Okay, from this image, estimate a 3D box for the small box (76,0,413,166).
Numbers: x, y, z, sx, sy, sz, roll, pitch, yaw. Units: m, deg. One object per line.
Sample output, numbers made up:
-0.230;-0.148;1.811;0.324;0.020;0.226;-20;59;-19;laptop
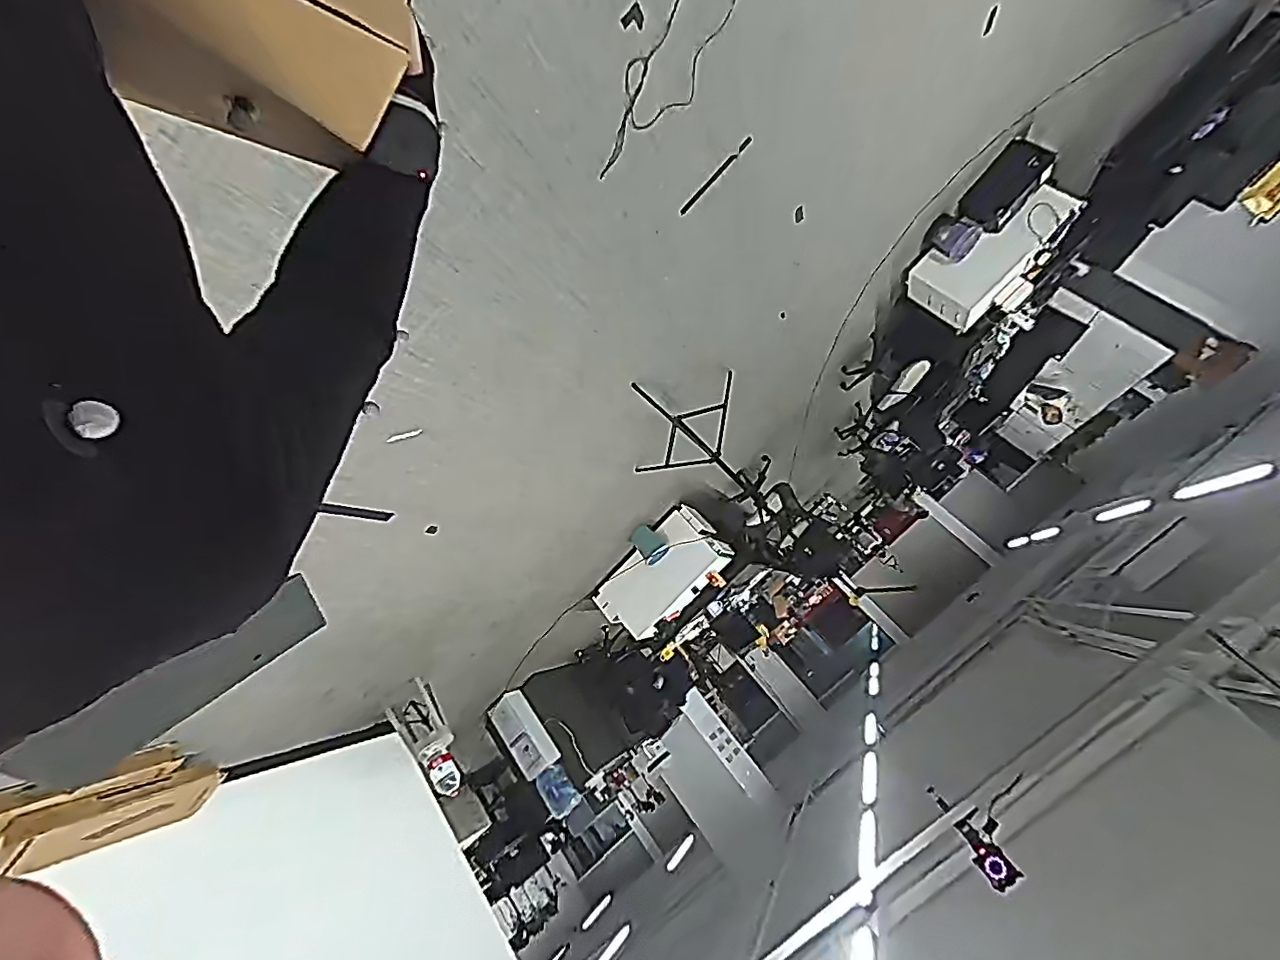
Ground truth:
-0.284;-0.368;0.393;0.179;0.168;0.176;0;175;-41;small box
